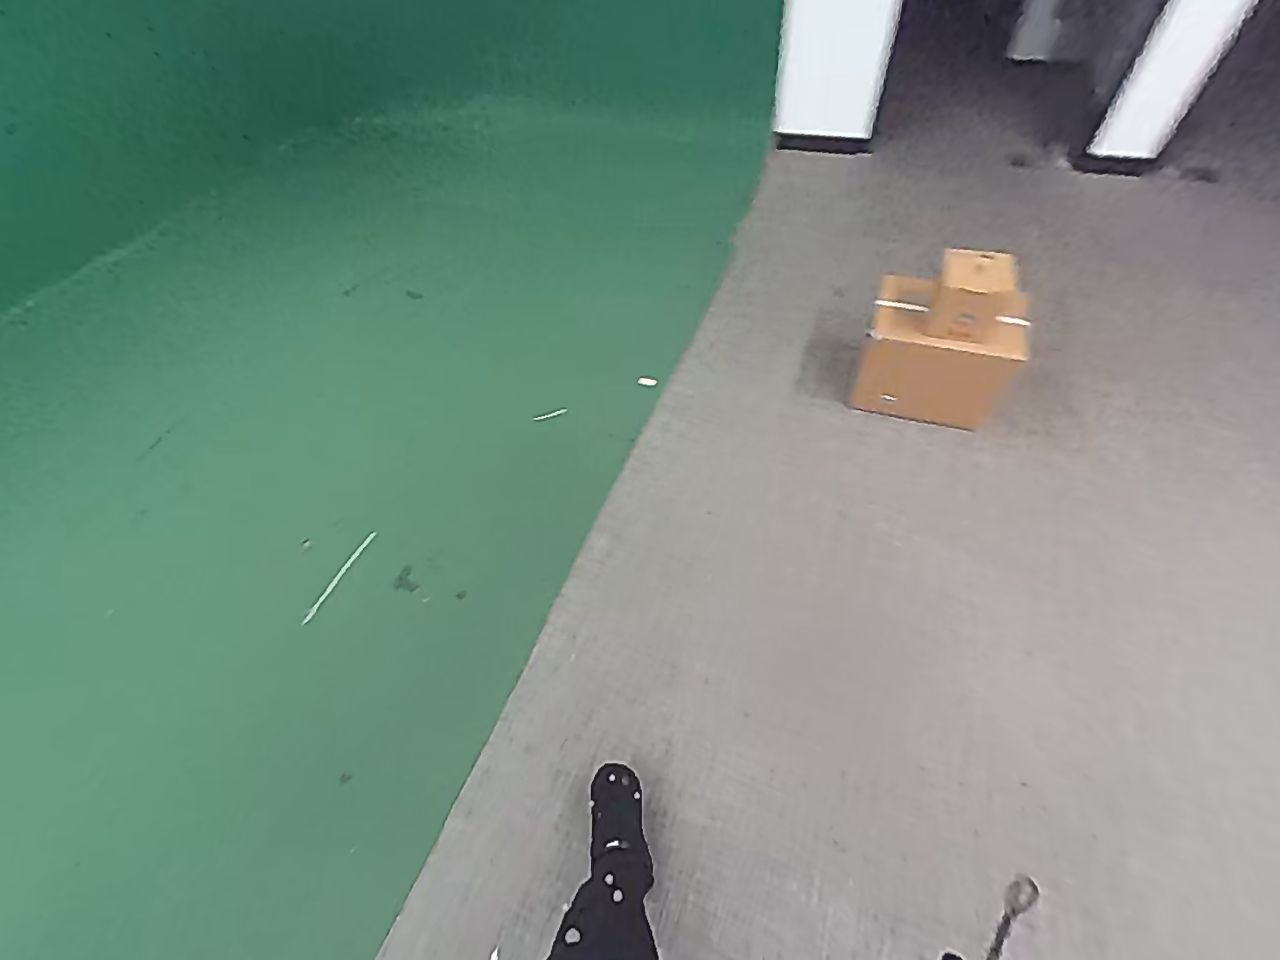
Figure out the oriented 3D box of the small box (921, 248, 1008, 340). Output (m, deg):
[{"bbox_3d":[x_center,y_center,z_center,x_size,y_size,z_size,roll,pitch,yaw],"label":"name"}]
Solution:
[{"bbox_3d":[0.899,-0.515,1.506,0.168,0.176,0.179,12,59,15],"label":"small box"}]
